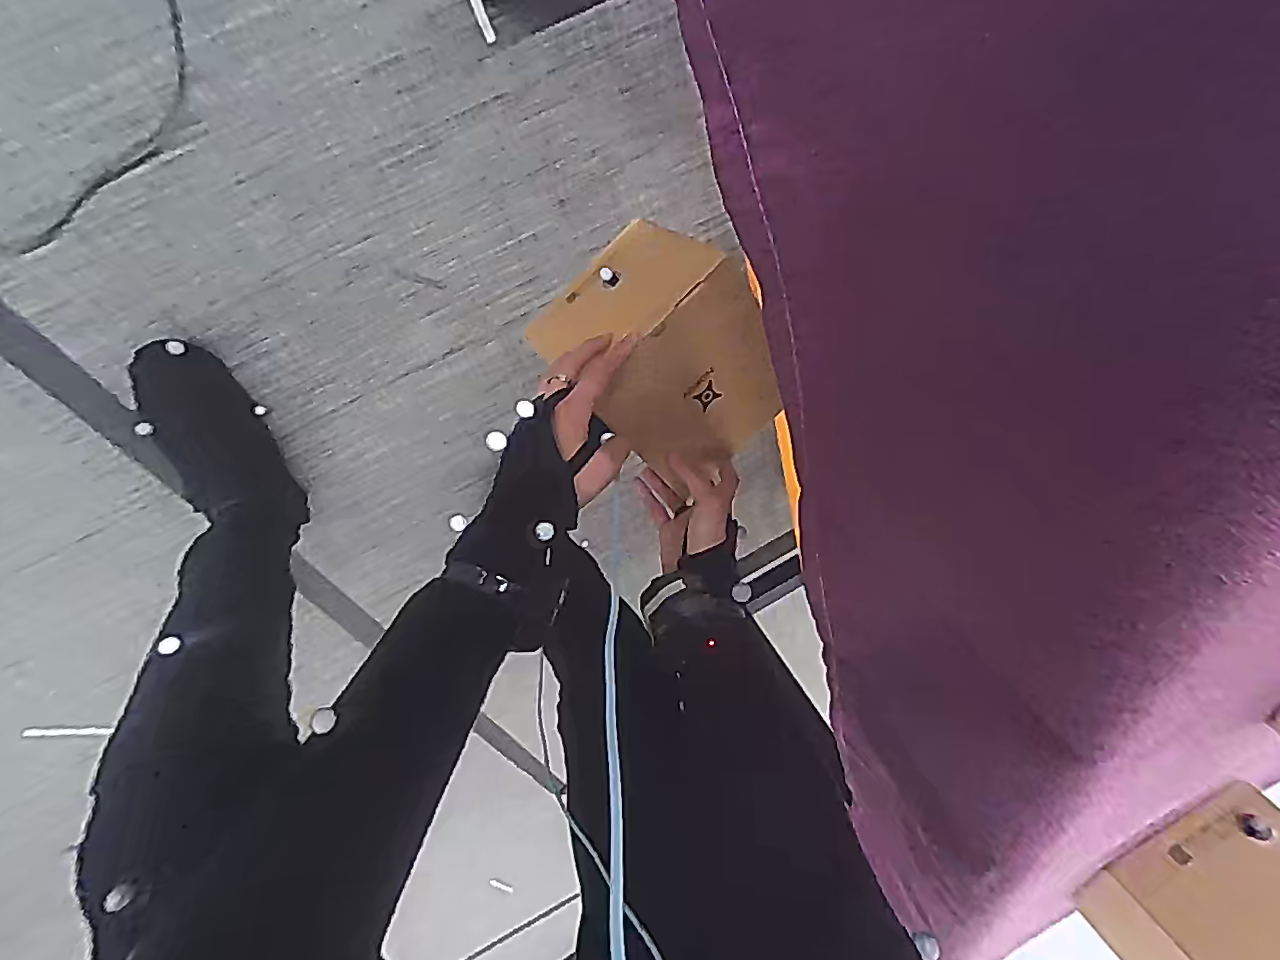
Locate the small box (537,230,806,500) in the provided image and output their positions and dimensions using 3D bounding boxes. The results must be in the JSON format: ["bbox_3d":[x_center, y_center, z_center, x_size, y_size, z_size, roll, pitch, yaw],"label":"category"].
[{"bbox_3d":[0.027,-0.118,0.542,0.168,0.176,0.179,-43,132,4],"label":"small box"}]

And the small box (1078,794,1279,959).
[{"bbox_3d":[0.561,0.430,0.503,0.168,0.176,0.179,-28,131,-4],"label":"small box"}]
